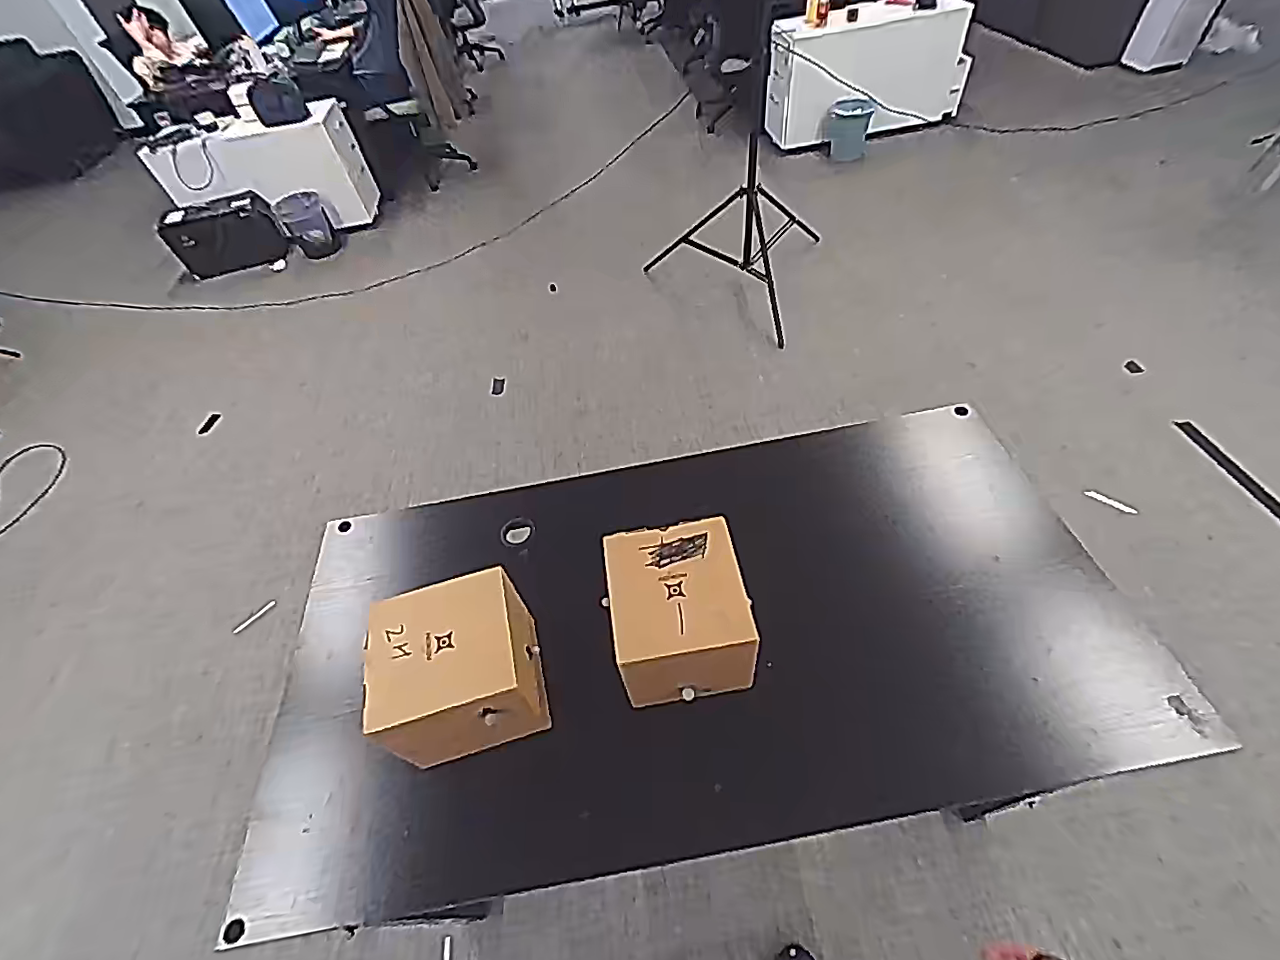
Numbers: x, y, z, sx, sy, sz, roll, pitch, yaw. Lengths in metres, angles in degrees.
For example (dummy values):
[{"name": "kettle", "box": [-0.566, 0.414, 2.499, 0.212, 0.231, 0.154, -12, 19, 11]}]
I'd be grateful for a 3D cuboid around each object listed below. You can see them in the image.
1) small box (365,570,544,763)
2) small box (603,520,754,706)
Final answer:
[{"name": "small box", "box": [-0.233, 0.249, 0.713, 0.179, 0.176, 0.168, -17, 51, -5]}, {"name": "small box", "box": [0.048, 0.181, 0.729, 0.168, 0.176, 0.179, -10, 52, 0]}]
